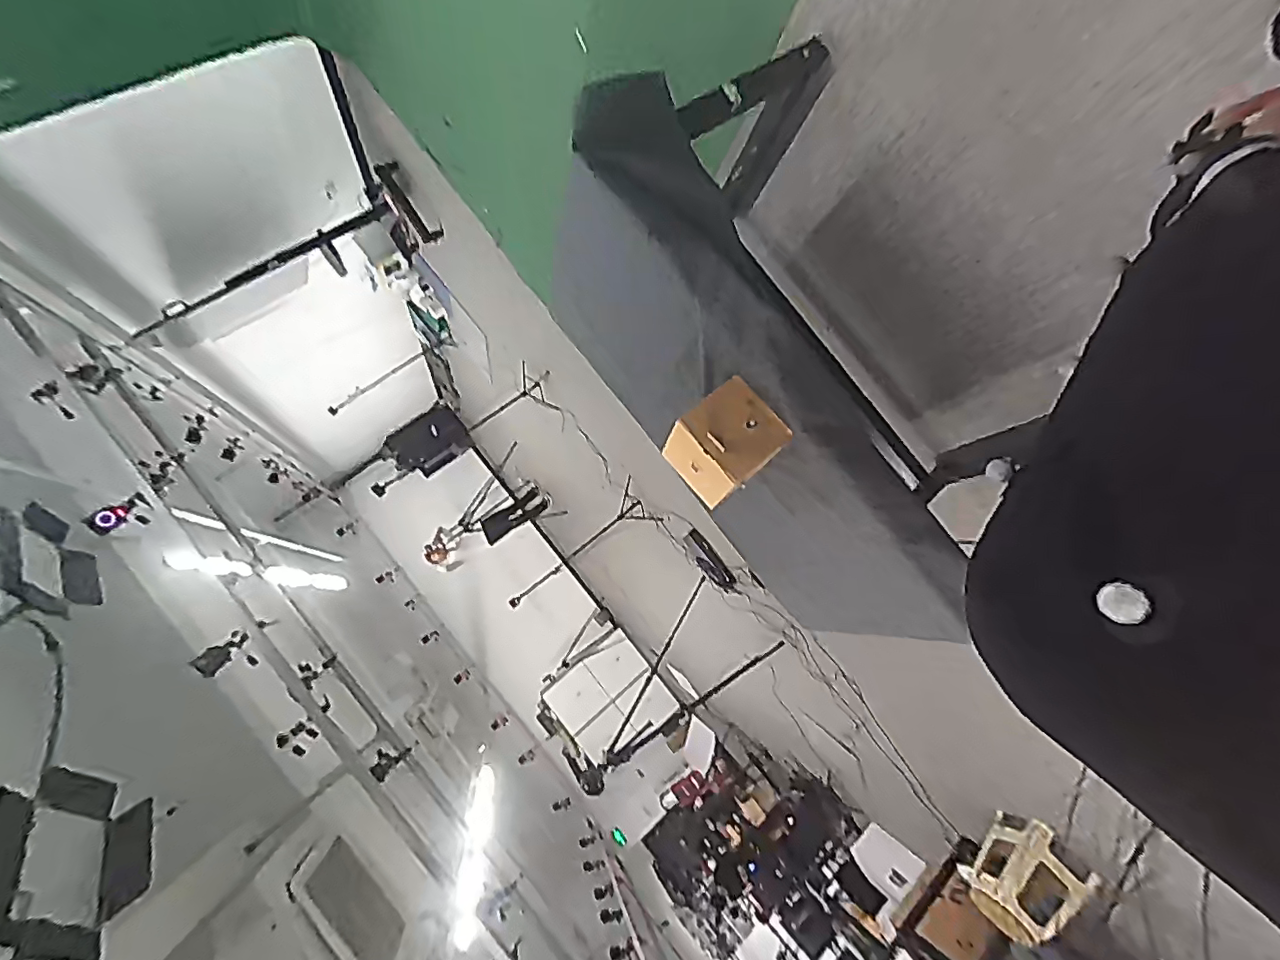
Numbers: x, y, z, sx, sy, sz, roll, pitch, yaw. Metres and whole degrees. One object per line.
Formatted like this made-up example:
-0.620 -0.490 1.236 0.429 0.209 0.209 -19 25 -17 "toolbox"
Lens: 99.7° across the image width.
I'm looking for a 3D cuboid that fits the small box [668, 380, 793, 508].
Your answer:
0.185 -0.072 1.122 0.168 0.176 0.179 48 162 10 "small box"
